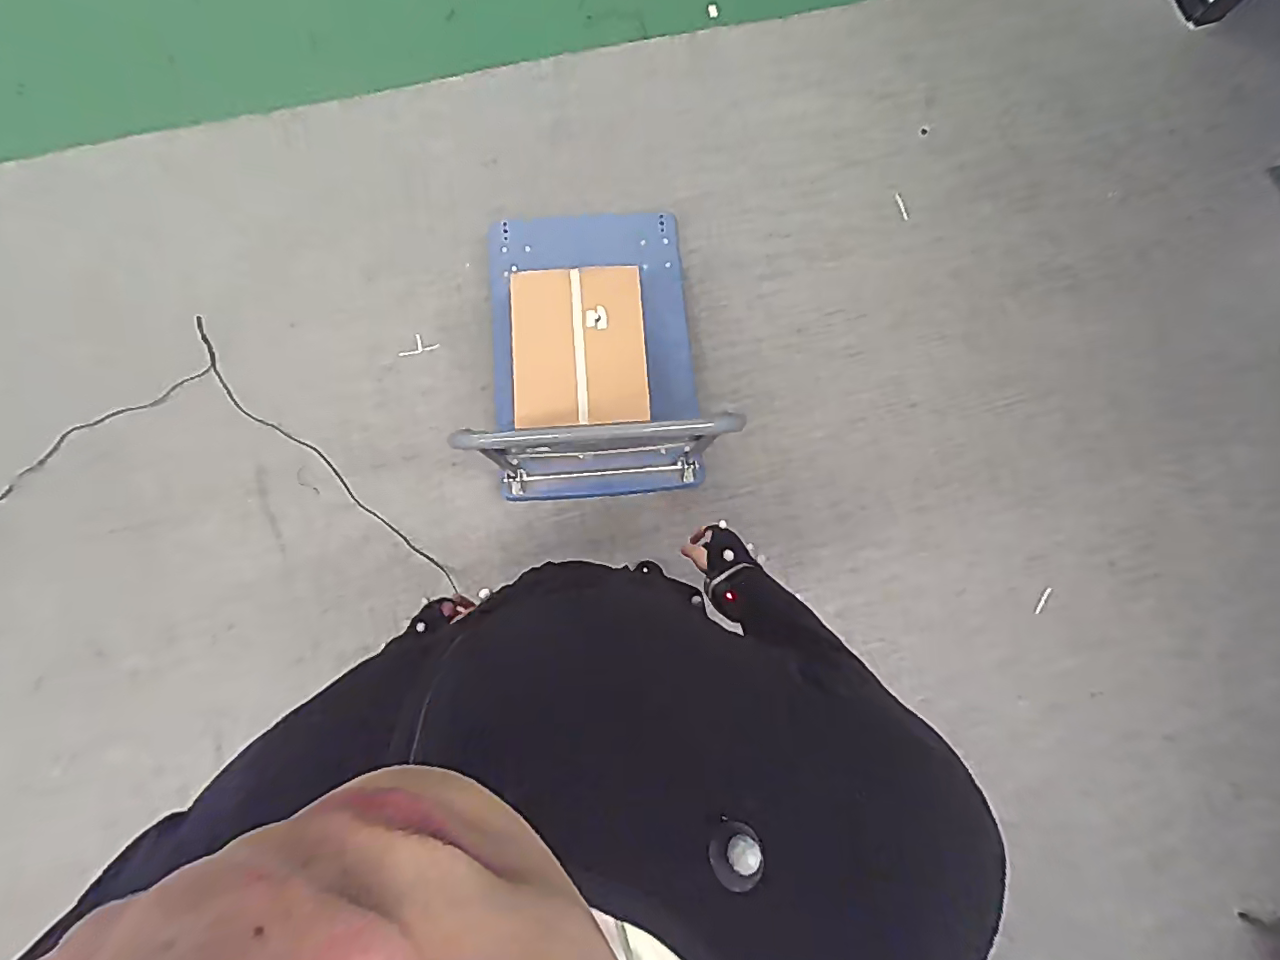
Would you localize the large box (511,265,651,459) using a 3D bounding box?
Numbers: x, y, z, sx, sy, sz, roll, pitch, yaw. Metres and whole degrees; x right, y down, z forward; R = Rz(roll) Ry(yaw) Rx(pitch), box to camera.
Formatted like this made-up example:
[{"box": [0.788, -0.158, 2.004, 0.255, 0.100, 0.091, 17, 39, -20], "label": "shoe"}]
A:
[{"box": [-0.148, -0.293, 1.424, 0.320, 0.320, 0.408, -4, 79, -3], "label": "large box"}]
